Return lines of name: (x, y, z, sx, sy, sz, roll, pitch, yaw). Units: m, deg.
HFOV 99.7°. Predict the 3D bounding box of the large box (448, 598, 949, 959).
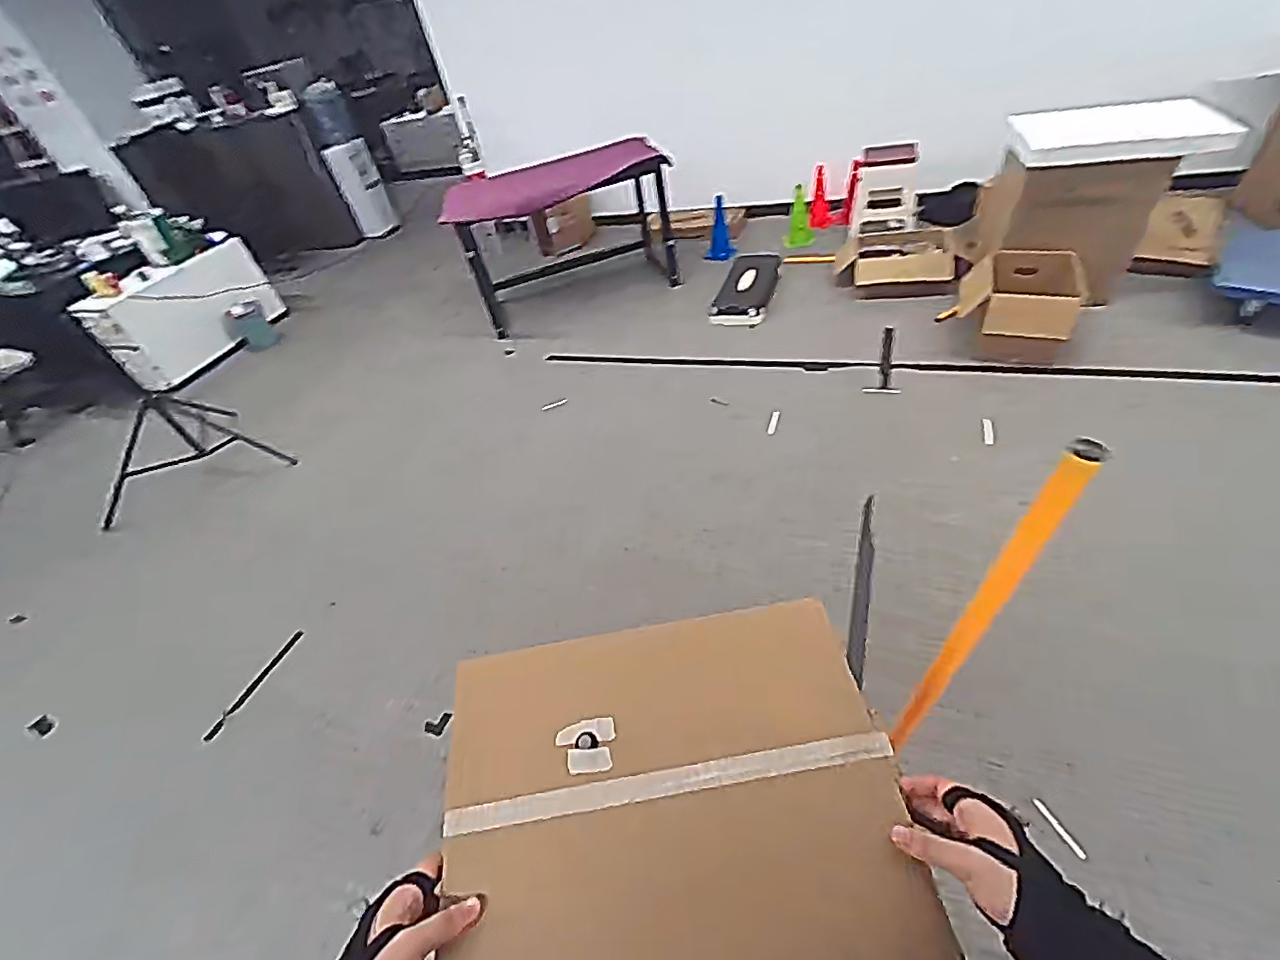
large box: (0.043, 0.379, 0.618, 0.408, 0.320, 0.320, -12, 48, 1)
